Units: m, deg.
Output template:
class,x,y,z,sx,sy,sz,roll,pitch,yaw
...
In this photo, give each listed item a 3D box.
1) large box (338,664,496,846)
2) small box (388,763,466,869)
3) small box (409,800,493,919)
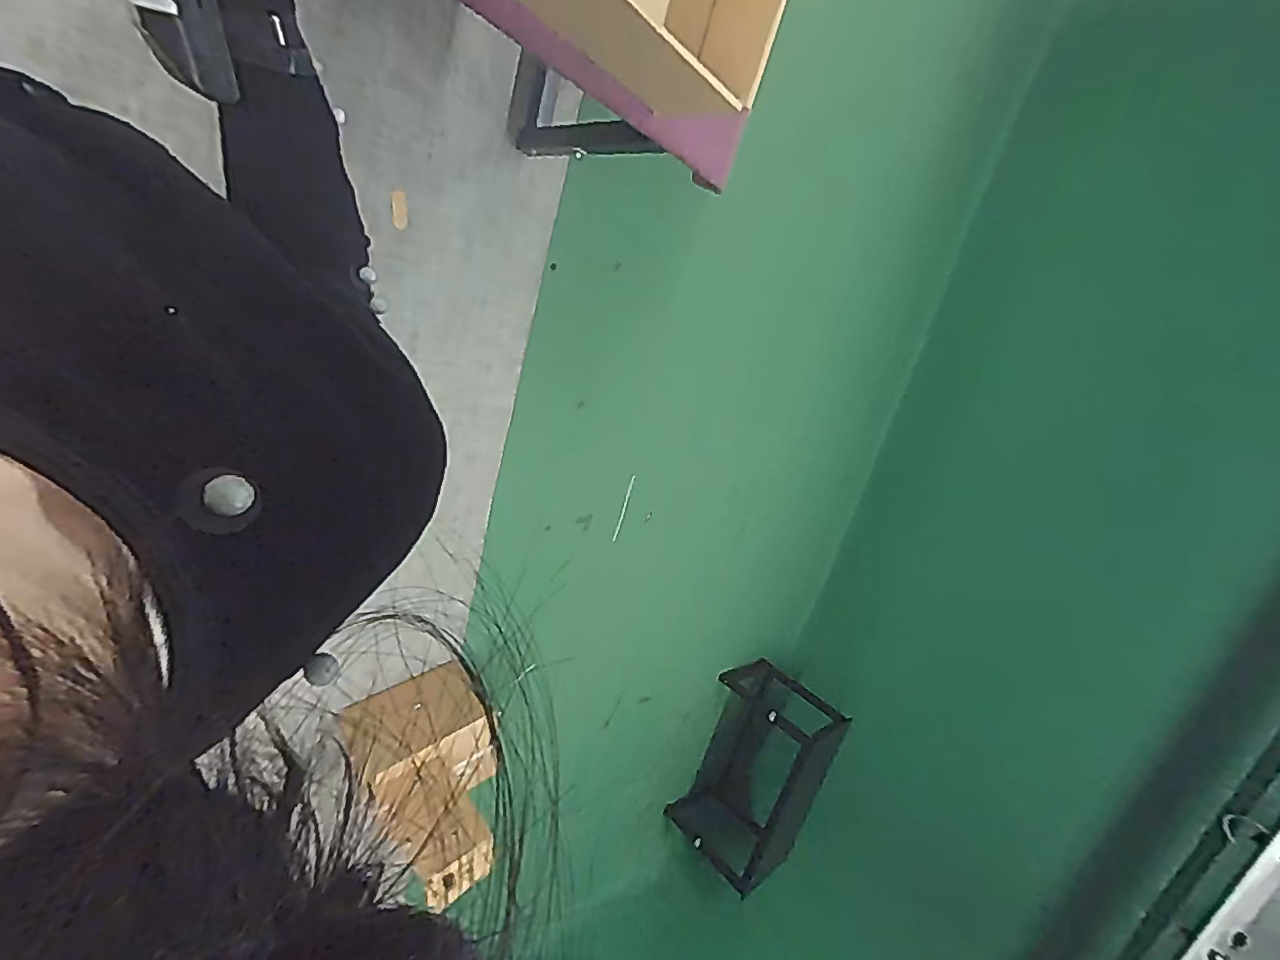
class,x,y,z,sx,sy,sz,roll,pitch,yaw
large box,-0.755,0.916,1.855,0.408,0.320,0.320,-18,124,-41
small box,-0.648,1.006,1.635,0.179,0.176,0.168,-11,119,-42
small box,-0.537,1.063,1.529,0.179,0.176,0.168,-17,123,-42
